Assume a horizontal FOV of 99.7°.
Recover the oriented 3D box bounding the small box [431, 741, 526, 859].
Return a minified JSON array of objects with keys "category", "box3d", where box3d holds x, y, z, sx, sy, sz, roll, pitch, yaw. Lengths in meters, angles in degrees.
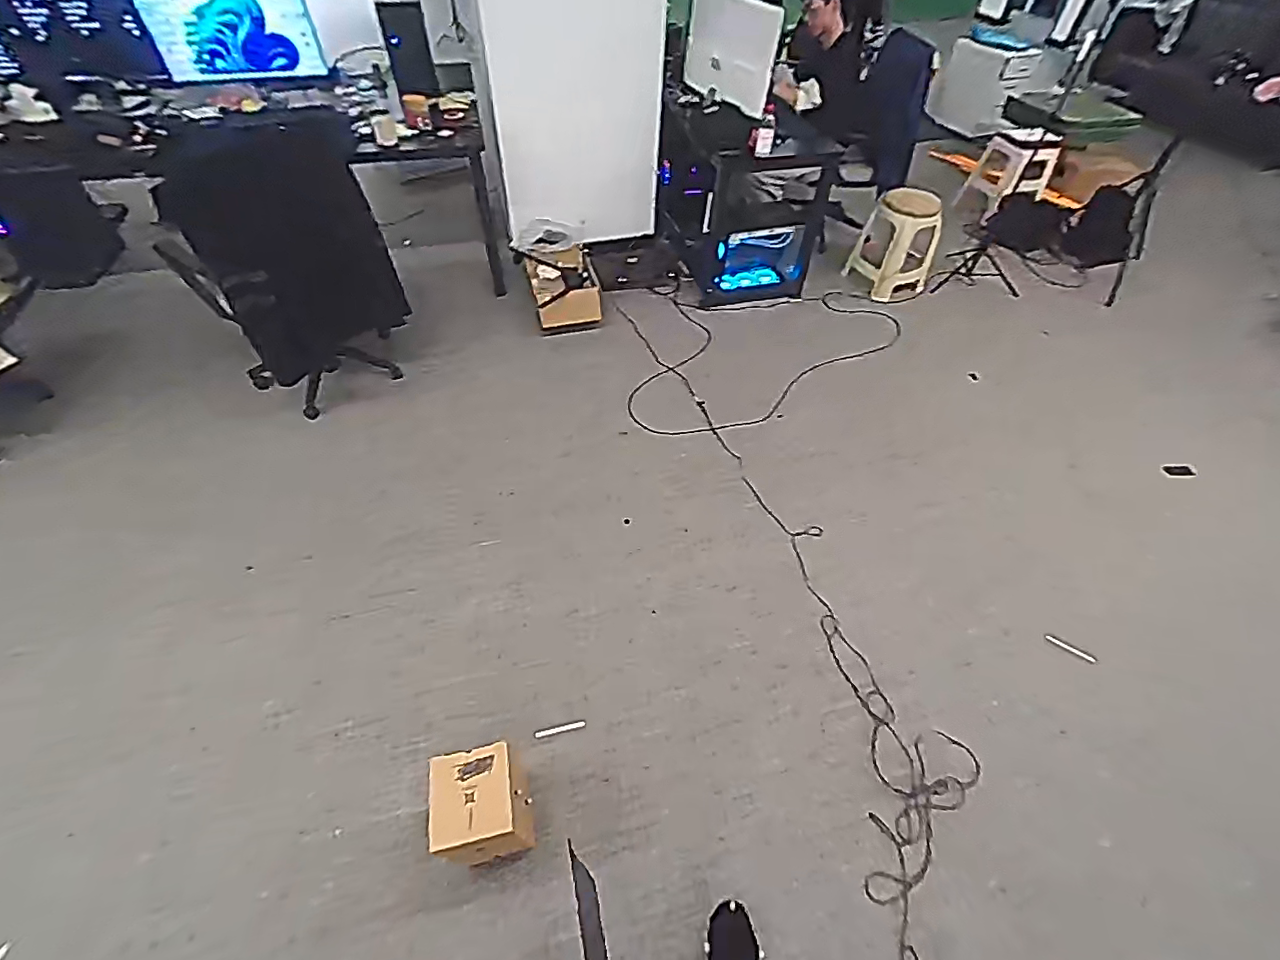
[{"category":"small box","box3d":[-0.349,0.703,1.185,0.168,0.176,0.179,-9,52,-9]}]
